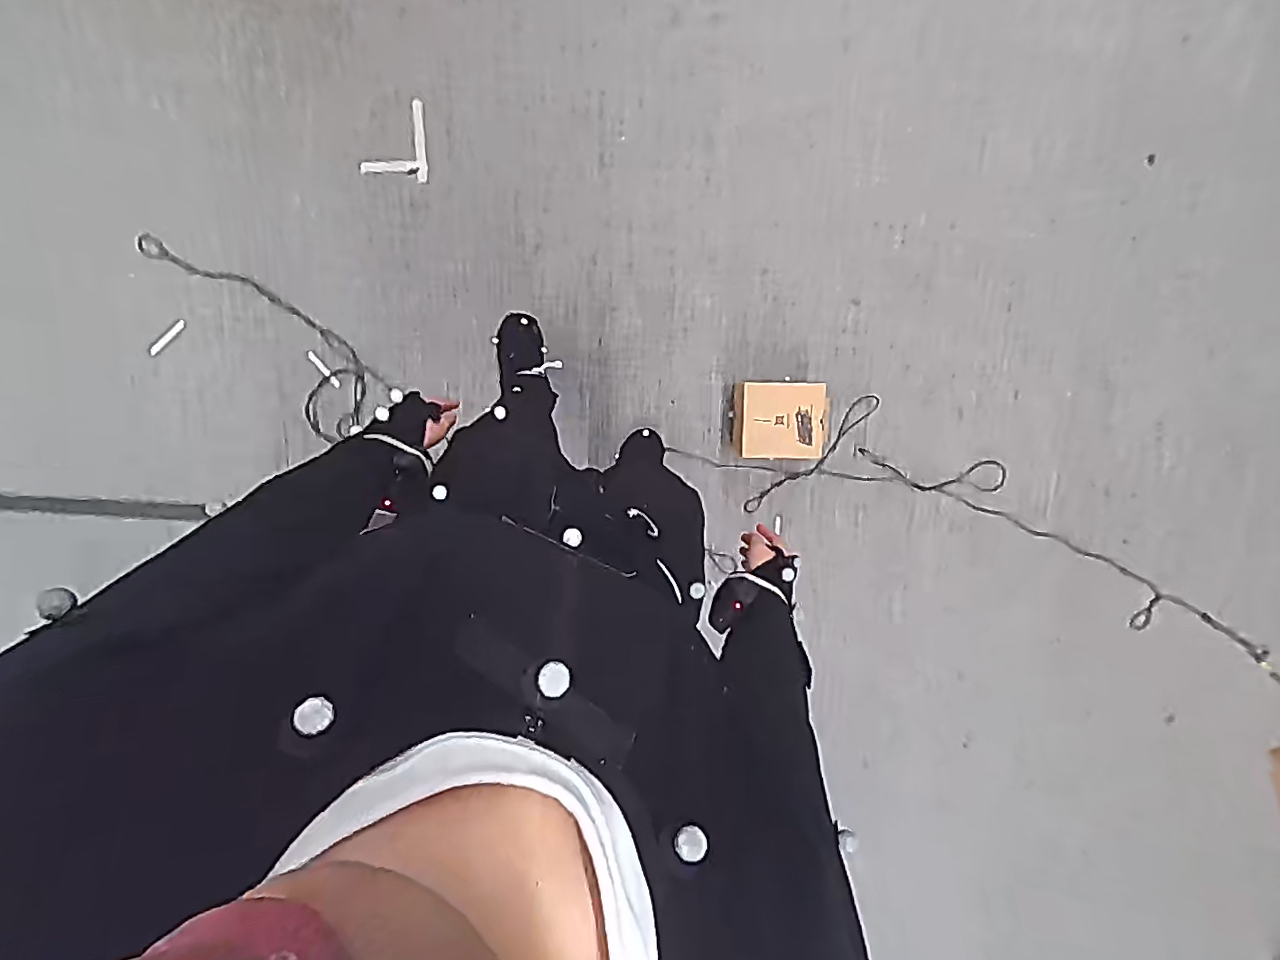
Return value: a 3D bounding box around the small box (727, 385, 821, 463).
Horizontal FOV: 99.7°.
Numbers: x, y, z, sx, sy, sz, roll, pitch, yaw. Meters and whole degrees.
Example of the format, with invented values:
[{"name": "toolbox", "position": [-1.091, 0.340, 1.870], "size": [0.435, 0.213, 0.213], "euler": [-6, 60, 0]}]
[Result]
[{"name": "small box", "position": [0.303, -0.134, 1.254], "size": [0.179, 0.176, 0.168], "euler": [1, 100, 2]}]
